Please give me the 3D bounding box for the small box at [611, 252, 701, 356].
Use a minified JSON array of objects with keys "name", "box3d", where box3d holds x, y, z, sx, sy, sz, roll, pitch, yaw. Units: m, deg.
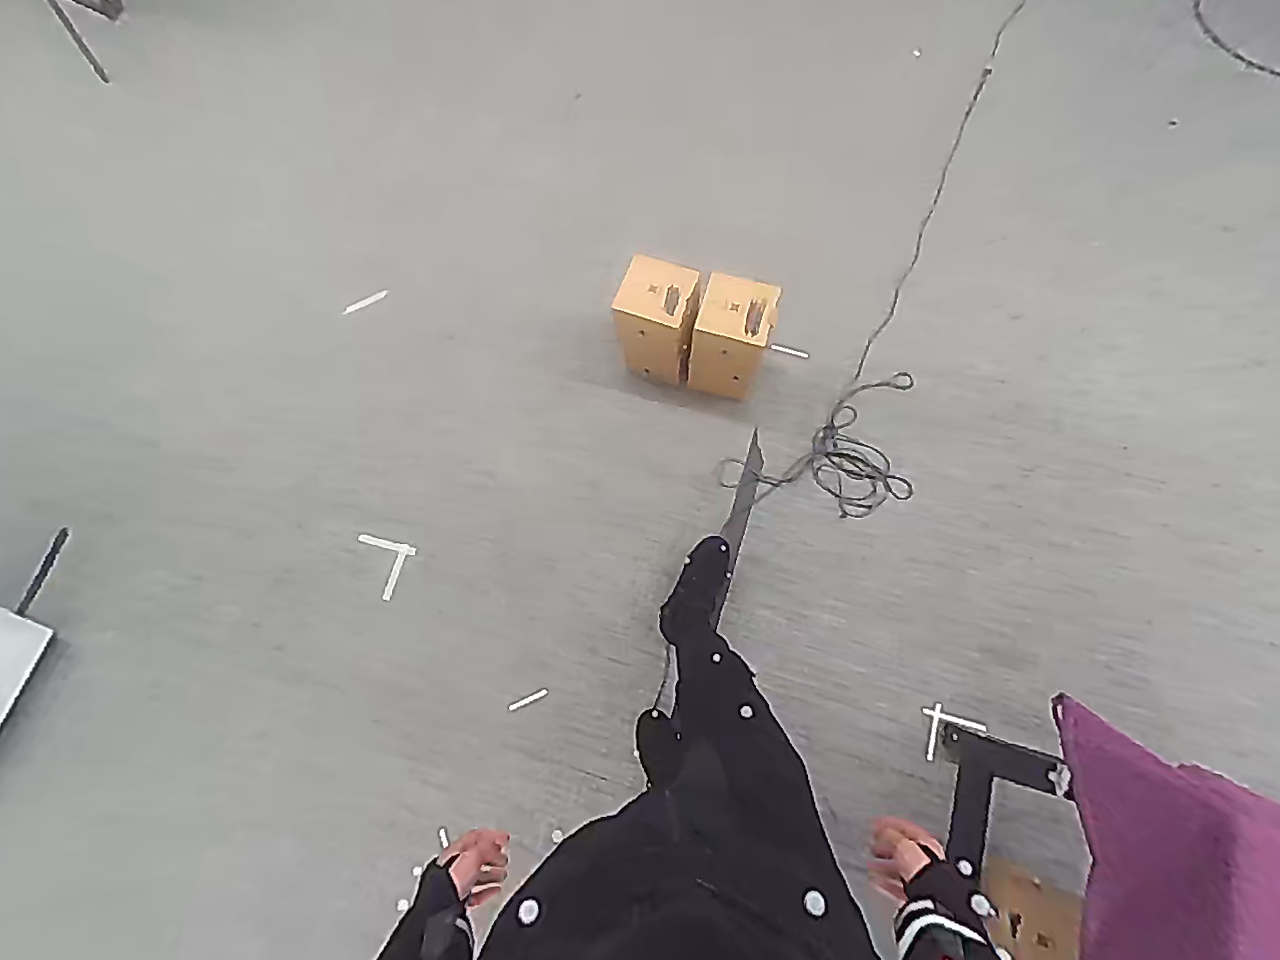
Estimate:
[{"name":"small box","box3d":[0.045,-0.438,1.373,0.179,0.176,0.168,20,77,10]}]
